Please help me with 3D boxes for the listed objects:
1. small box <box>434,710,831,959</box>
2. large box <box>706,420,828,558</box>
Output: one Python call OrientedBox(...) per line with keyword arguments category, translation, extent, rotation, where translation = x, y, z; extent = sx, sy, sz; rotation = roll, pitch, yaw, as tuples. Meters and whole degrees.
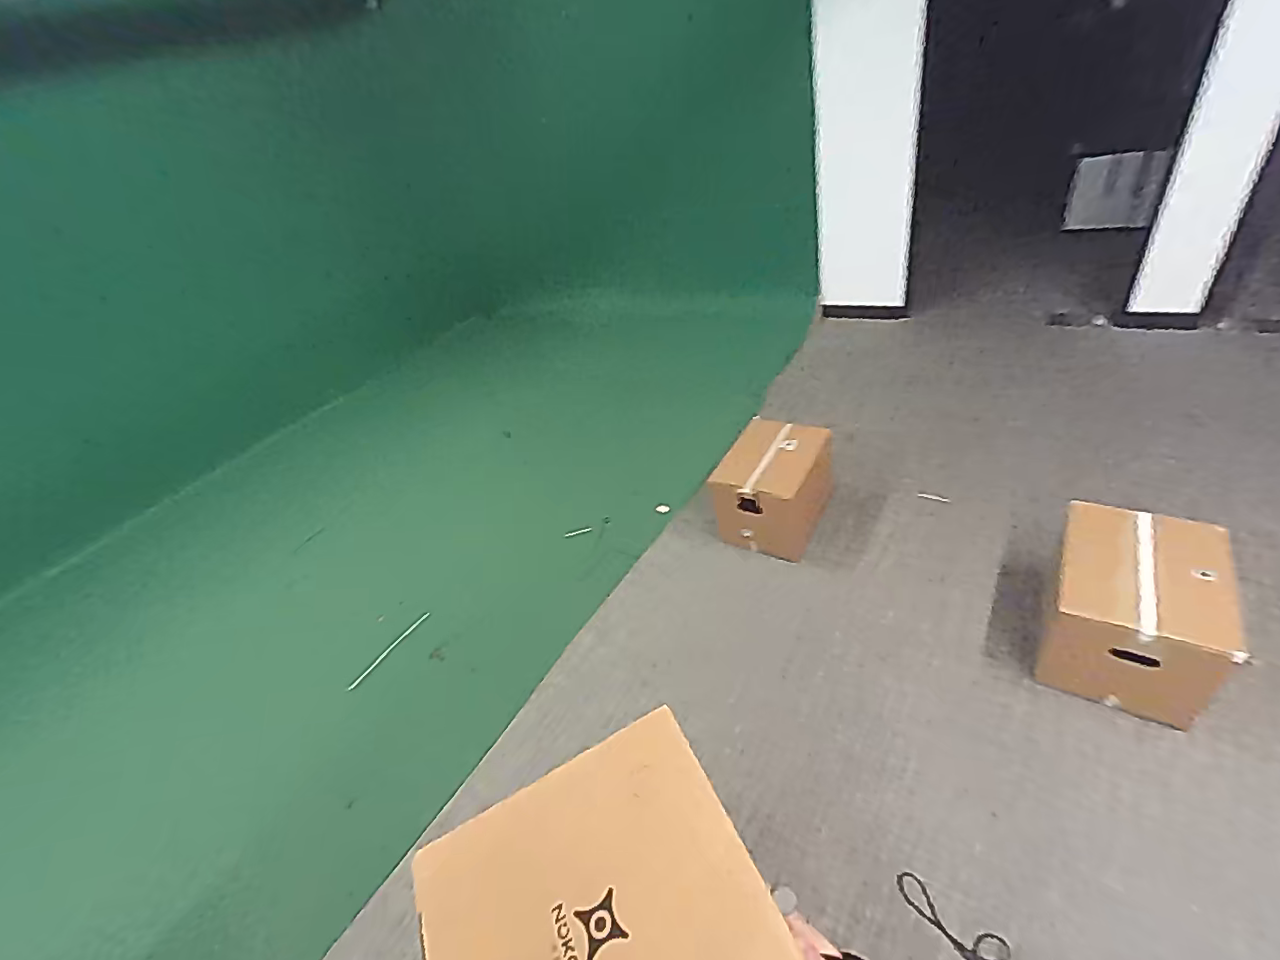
OrientedBox(category="small box", translation=(0.005, 0.283, 0.328), extent=(0.179, 0.176, 0.168), rotation=(-27, 43, -9))
OrientedBox(category="large box", translation=(0.492, 0.025, 2.035), extent=(0.320, 0.320, 0.408), rotation=(13, 46, 33))
